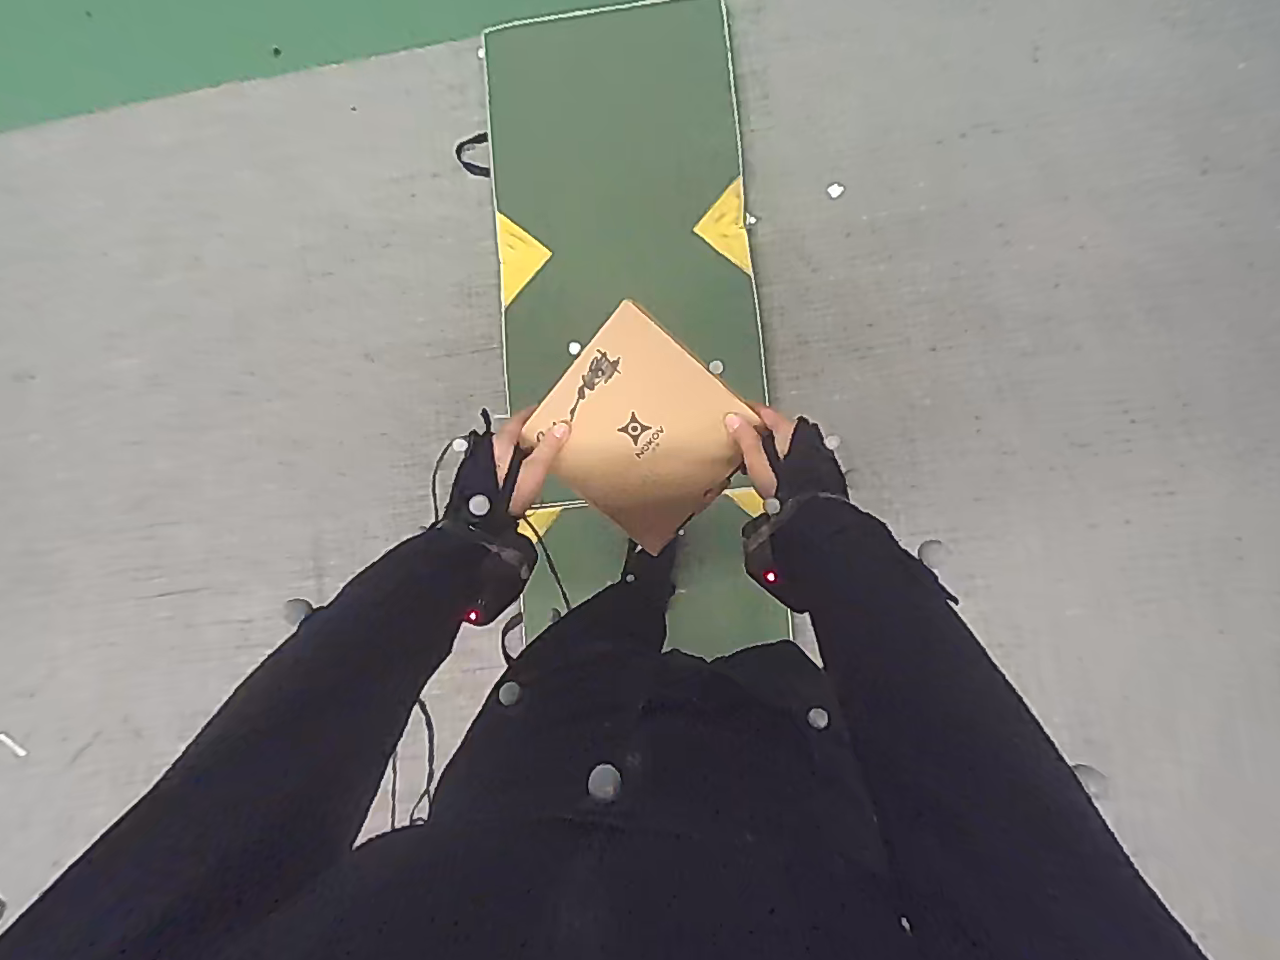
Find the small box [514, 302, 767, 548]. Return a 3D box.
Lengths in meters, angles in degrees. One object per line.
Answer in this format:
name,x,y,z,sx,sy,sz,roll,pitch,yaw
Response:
small box,0.004,-0.067,0.569,0.179,0.176,0.168,40,104,-8
